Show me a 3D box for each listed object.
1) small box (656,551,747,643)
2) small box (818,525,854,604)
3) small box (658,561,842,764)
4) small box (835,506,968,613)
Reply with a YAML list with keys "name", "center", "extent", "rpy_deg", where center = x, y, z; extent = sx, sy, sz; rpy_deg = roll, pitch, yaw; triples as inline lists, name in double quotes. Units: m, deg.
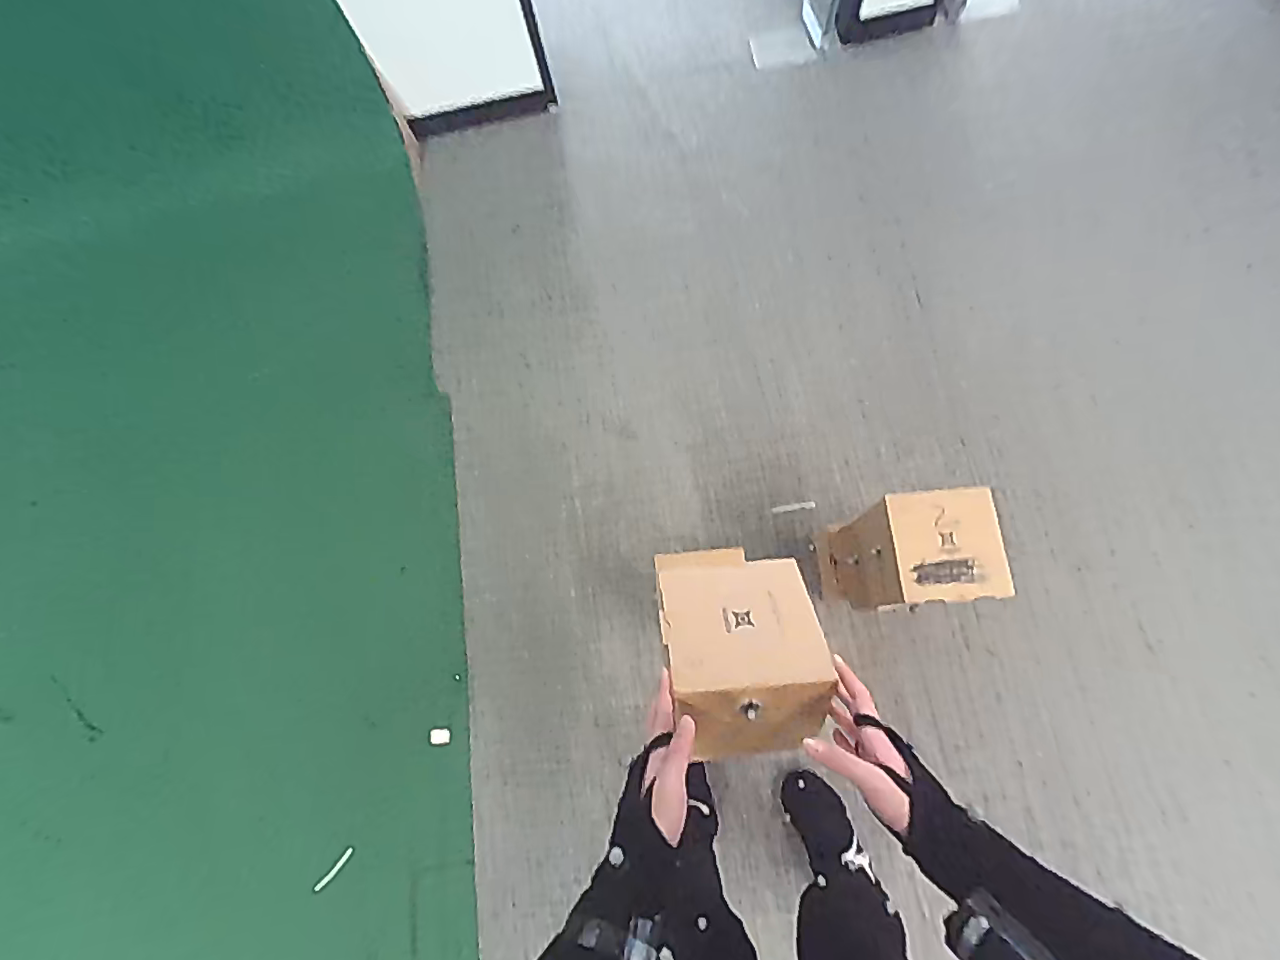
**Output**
- name: "small box"
  center: [0.132, 0.243, 1.100]
  extent: [0.179, 0.176, 0.168]
  rpy_deg: [-6, 75, 5]
- name: "small box"
  center: [0.520, 0.192, 1.241]
  extent: [0.179, 0.176, 0.168]
  rpy_deg: [-8, 75, 3]
- name: "small box"
  center: [0.119, 0.221, 0.651]
  extent: [0.179, 0.176, 0.168]
  rpy_deg: [-5, 40, 0]
- name: "small box"
  center: [0.510, 0.164, 1.081]
  extent: [0.168, 0.176, 0.179]
  rpy_deg: [-12, 74, 3]
